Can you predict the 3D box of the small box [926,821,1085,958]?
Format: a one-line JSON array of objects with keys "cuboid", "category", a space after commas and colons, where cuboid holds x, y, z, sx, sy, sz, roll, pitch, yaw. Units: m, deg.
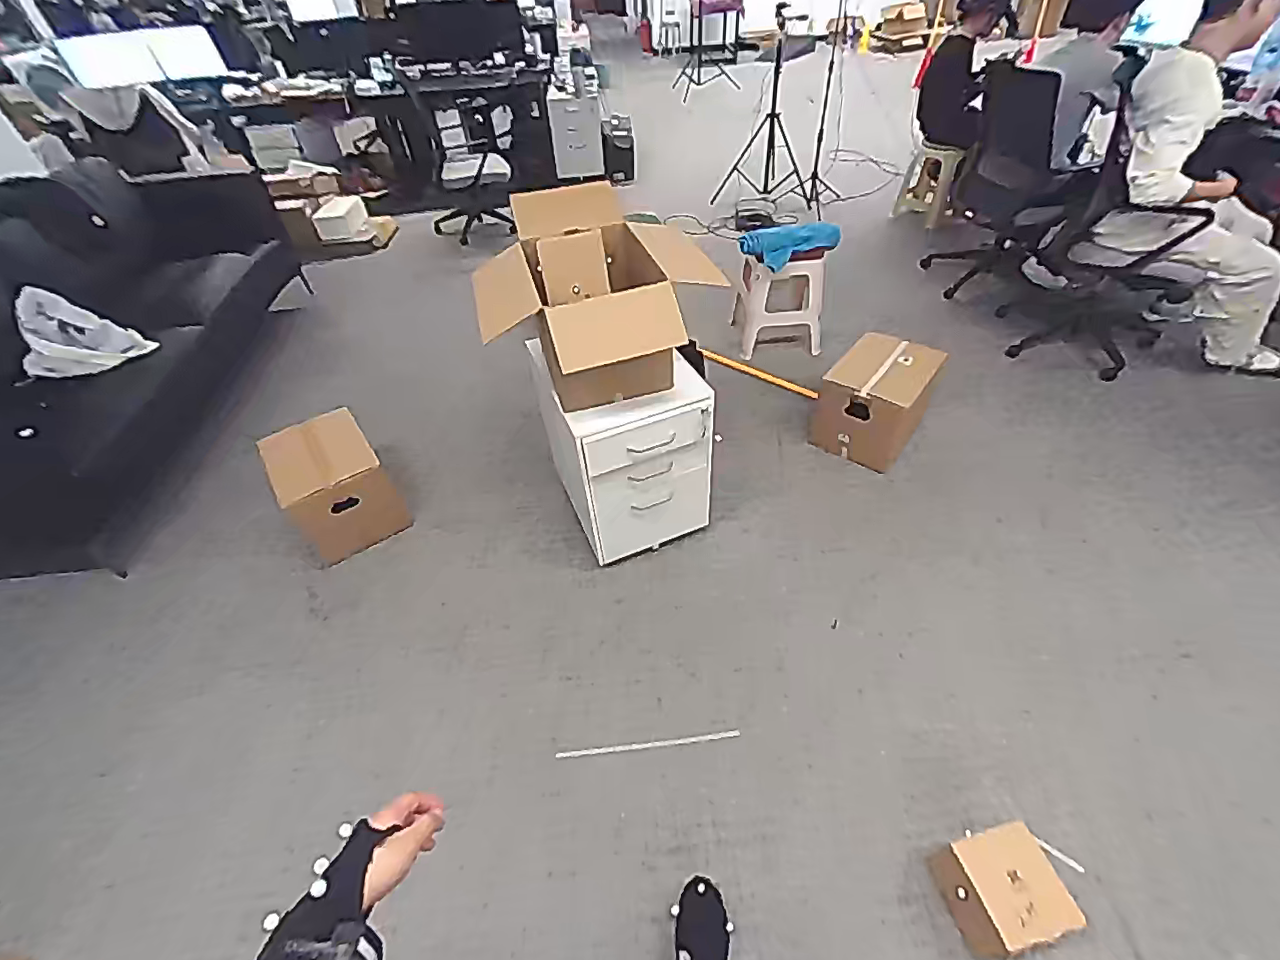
[{"cuboid": [0.712, 0.820, 1.082, 0.168, 0.176, 0.179, -12, 47, -7], "category": "small box"}]
